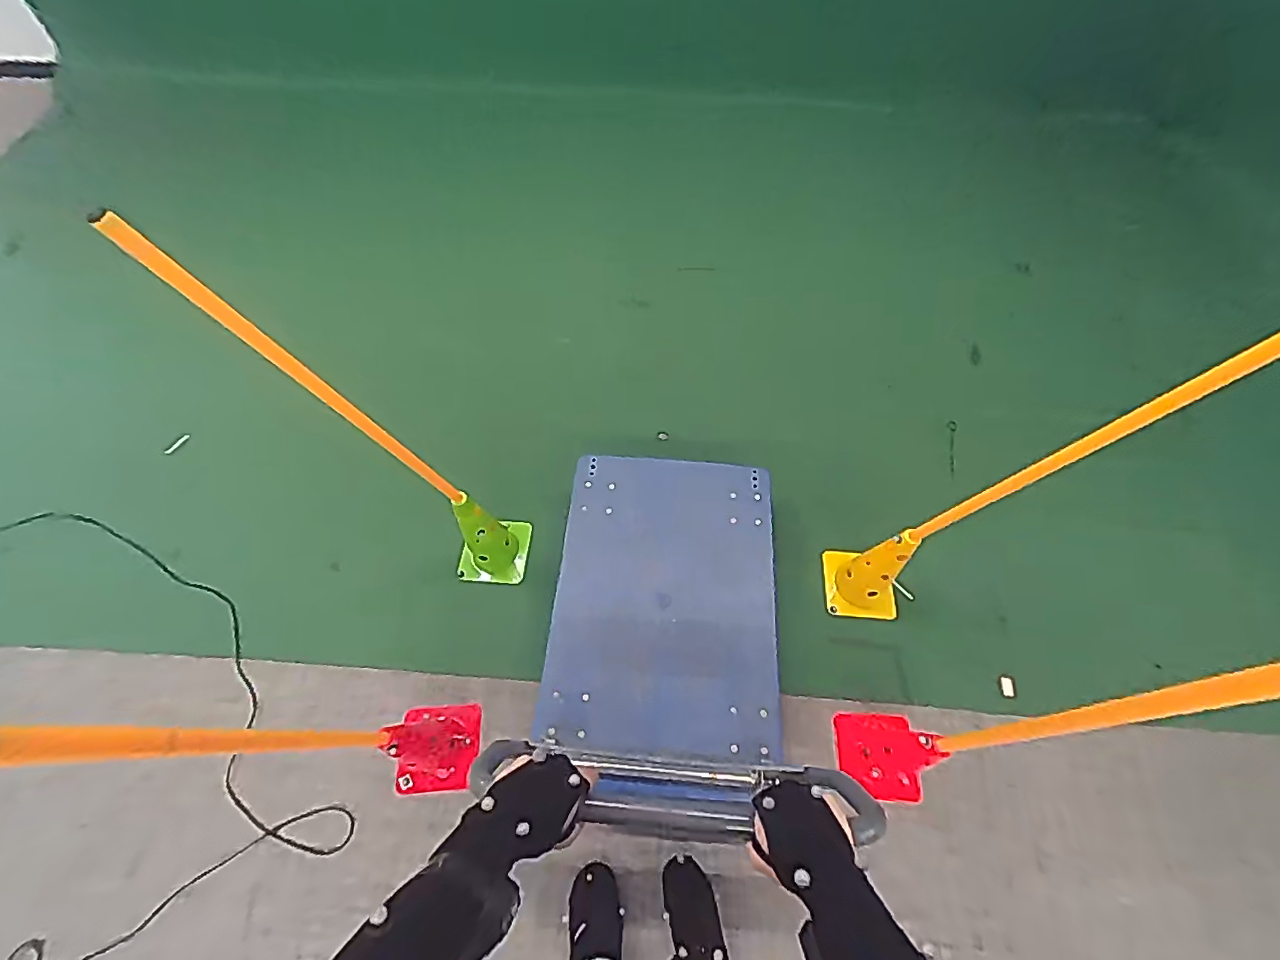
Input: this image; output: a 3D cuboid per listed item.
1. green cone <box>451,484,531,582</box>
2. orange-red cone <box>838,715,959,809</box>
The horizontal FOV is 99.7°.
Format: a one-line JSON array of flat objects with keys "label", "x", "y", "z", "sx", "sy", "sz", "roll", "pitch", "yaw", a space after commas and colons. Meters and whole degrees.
[{"label": "green cone", "x": -0.443, "y": 0.123, "z": 1.488, "sx": 0.200, "sy": 0.368, "sz": 0.202, "roll": 3, "pitch": 59, "yaw": 3}, {"label": "orange-red cone", "x": 0.605, "y": 0.614, "z": 1.210, "sx": 0.198, "sy": 0.360, "sz": 0.199, "roll": 4, "pitch": 58, "yaw": 2}]
